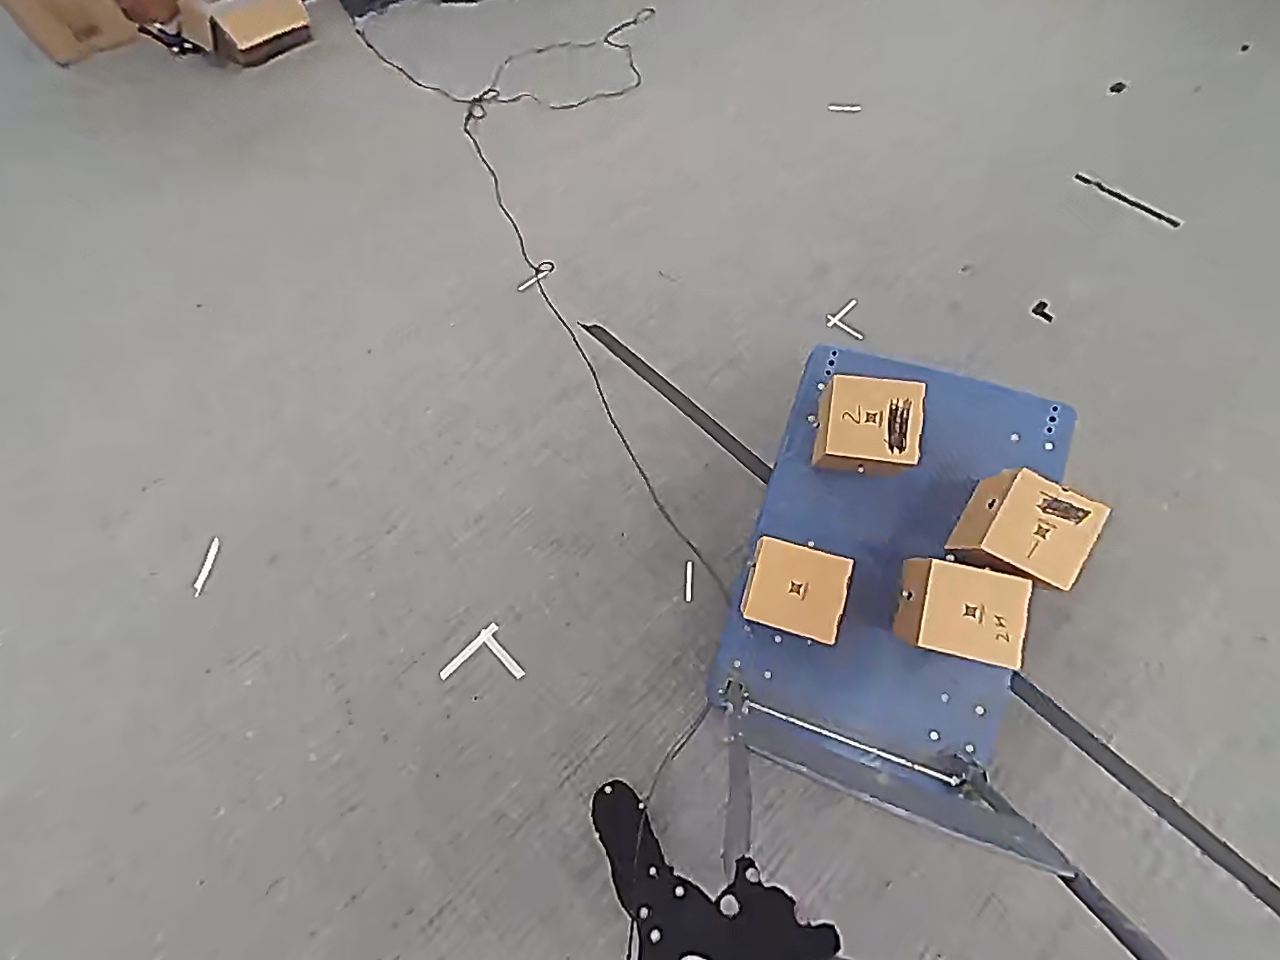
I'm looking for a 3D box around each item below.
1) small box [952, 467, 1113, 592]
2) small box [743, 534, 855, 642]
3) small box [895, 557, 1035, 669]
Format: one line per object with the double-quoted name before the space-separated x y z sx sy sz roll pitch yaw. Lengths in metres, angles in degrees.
"small box" 0.753 0.098 1.061 0.168 0.176 0.179 29 88 12
"small box" 0.316 0.218 1.112 0.179 0.176 0.168 15 84 10
"small box" 0.622 0.253 1.059 0.179 0.176 0.168 13 84 11
